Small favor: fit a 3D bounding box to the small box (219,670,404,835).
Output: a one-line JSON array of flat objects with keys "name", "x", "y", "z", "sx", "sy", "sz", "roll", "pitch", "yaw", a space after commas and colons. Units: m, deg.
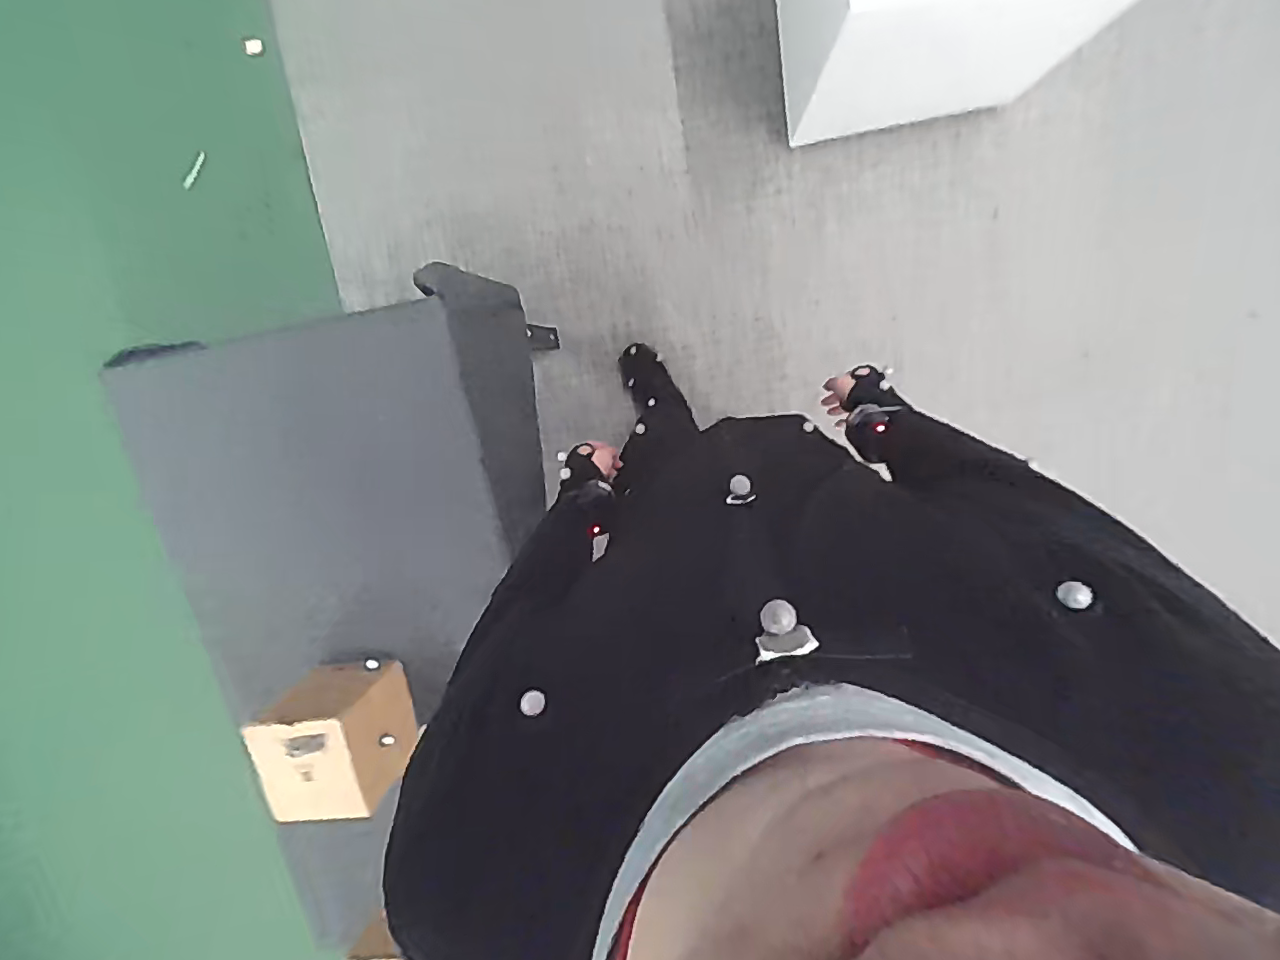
[{"name": "small box", "x": -0.510, "y": 0.423, "z": 0.867, "sx": 0.168, "sy": 0.176, "sz": 0.179, "roll": -8, "pitch": 103, "yaw": 6}]
